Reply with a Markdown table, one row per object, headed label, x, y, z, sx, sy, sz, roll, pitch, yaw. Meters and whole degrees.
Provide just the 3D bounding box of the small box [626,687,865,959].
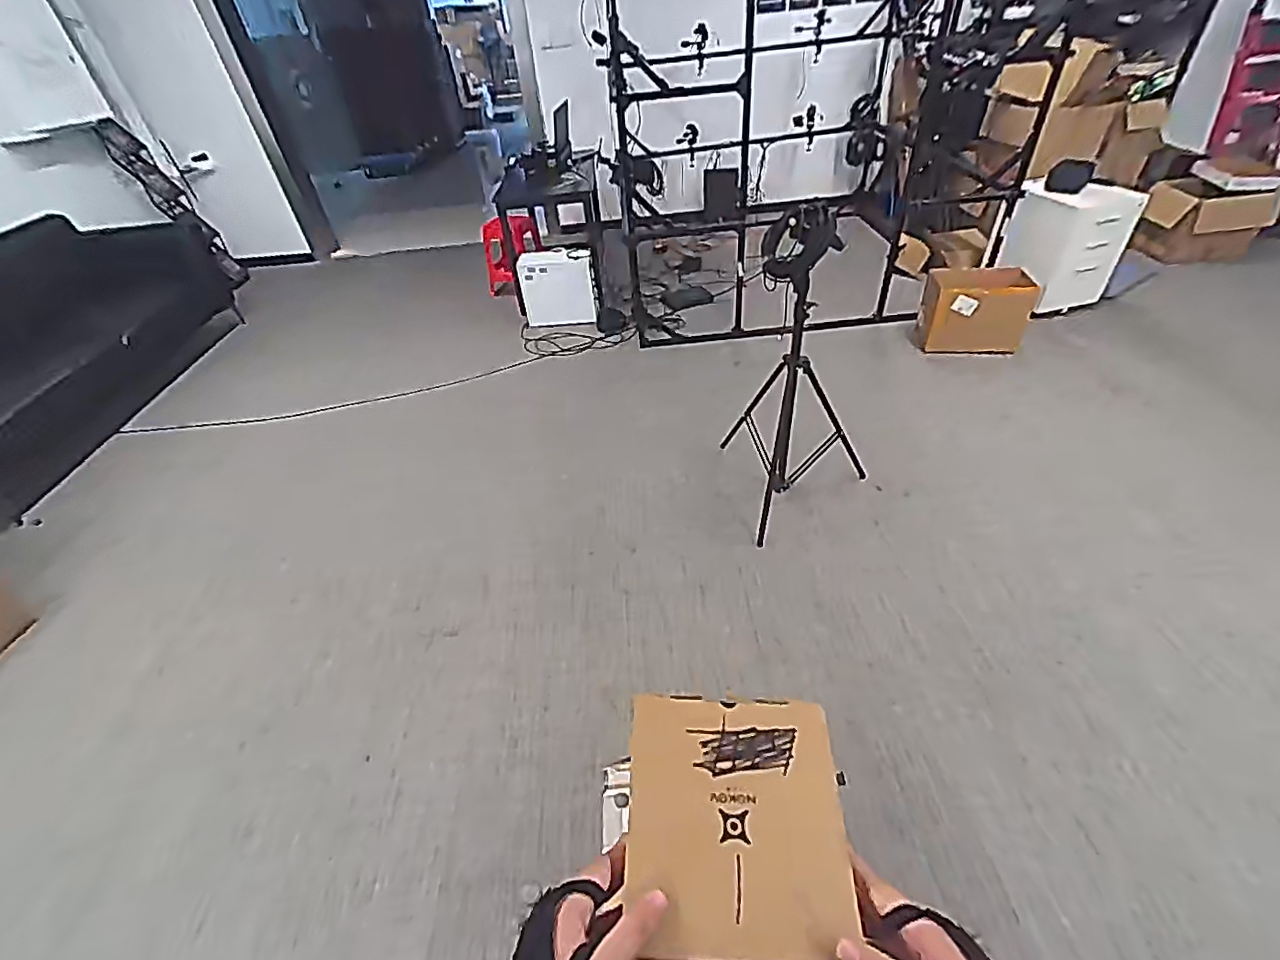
| label | x | y | z | sx | sy | sz | roll | pitch | yaw |
| --- | --- | --- | --- | --- | --- | --- | --- | --- | --- |
| small box | 0.075 | 0.306 | 0.479 | 0.168 | 0.176 | 0.179 | 2 | 48 | 2 |
